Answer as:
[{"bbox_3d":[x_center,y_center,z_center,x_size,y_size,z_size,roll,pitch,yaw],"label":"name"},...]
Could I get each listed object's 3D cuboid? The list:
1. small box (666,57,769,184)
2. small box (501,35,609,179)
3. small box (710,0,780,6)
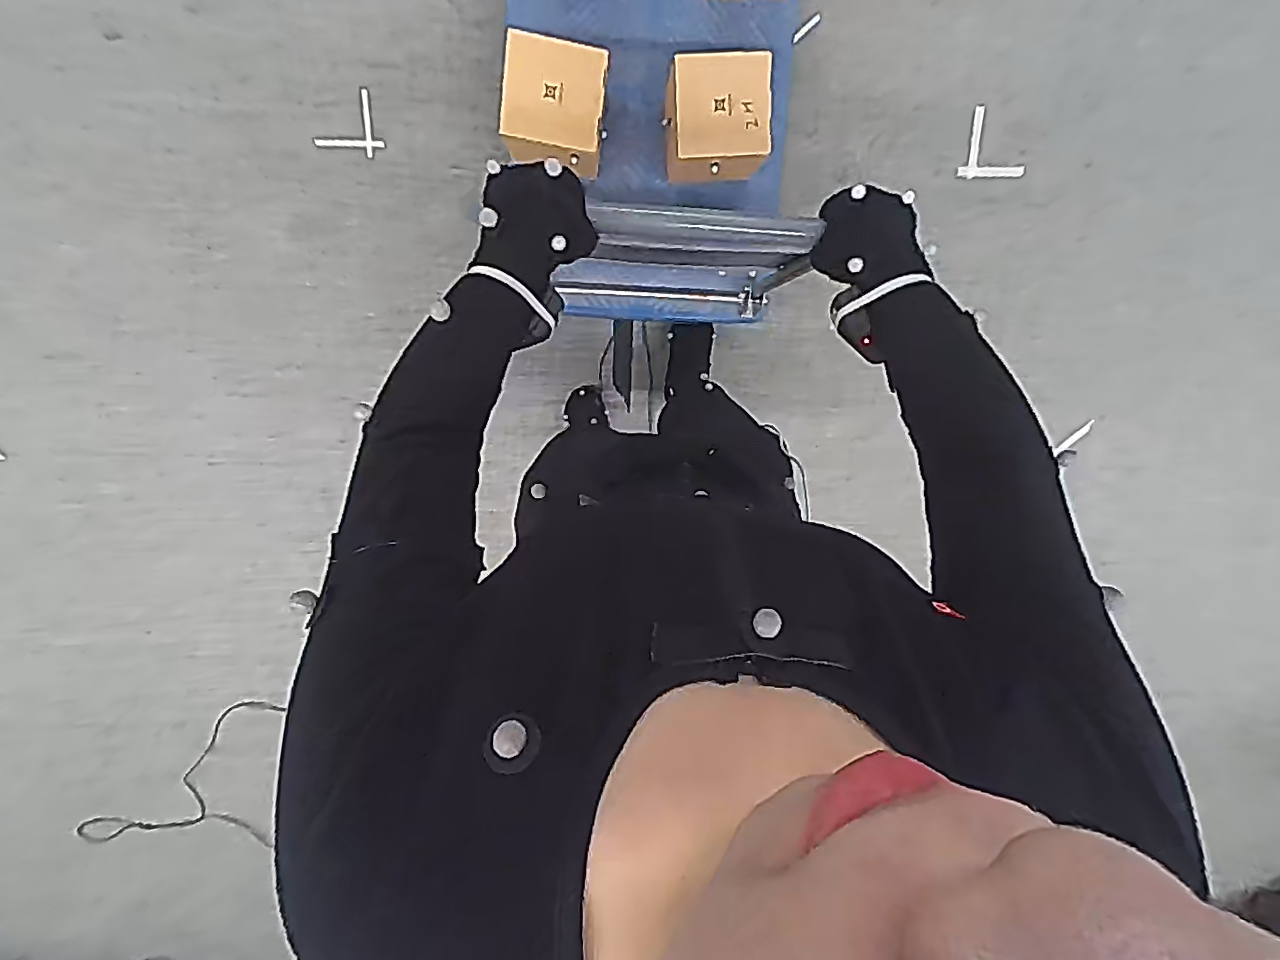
[{"bbox_3d":[0.145,-0.694,1.061,0.179,0.176,0.168,-4,105,-3],"label":"small box"},{"bbox_3d":[-0.159,-0.699,1.037,0.179,0.176,0.168,7,104,-7],"label":"small box"},{"bbox_3d":[0.210,-1.018,0.982,0.168,0.176,0.179,-2,106,-4],"label":"small box"}]
